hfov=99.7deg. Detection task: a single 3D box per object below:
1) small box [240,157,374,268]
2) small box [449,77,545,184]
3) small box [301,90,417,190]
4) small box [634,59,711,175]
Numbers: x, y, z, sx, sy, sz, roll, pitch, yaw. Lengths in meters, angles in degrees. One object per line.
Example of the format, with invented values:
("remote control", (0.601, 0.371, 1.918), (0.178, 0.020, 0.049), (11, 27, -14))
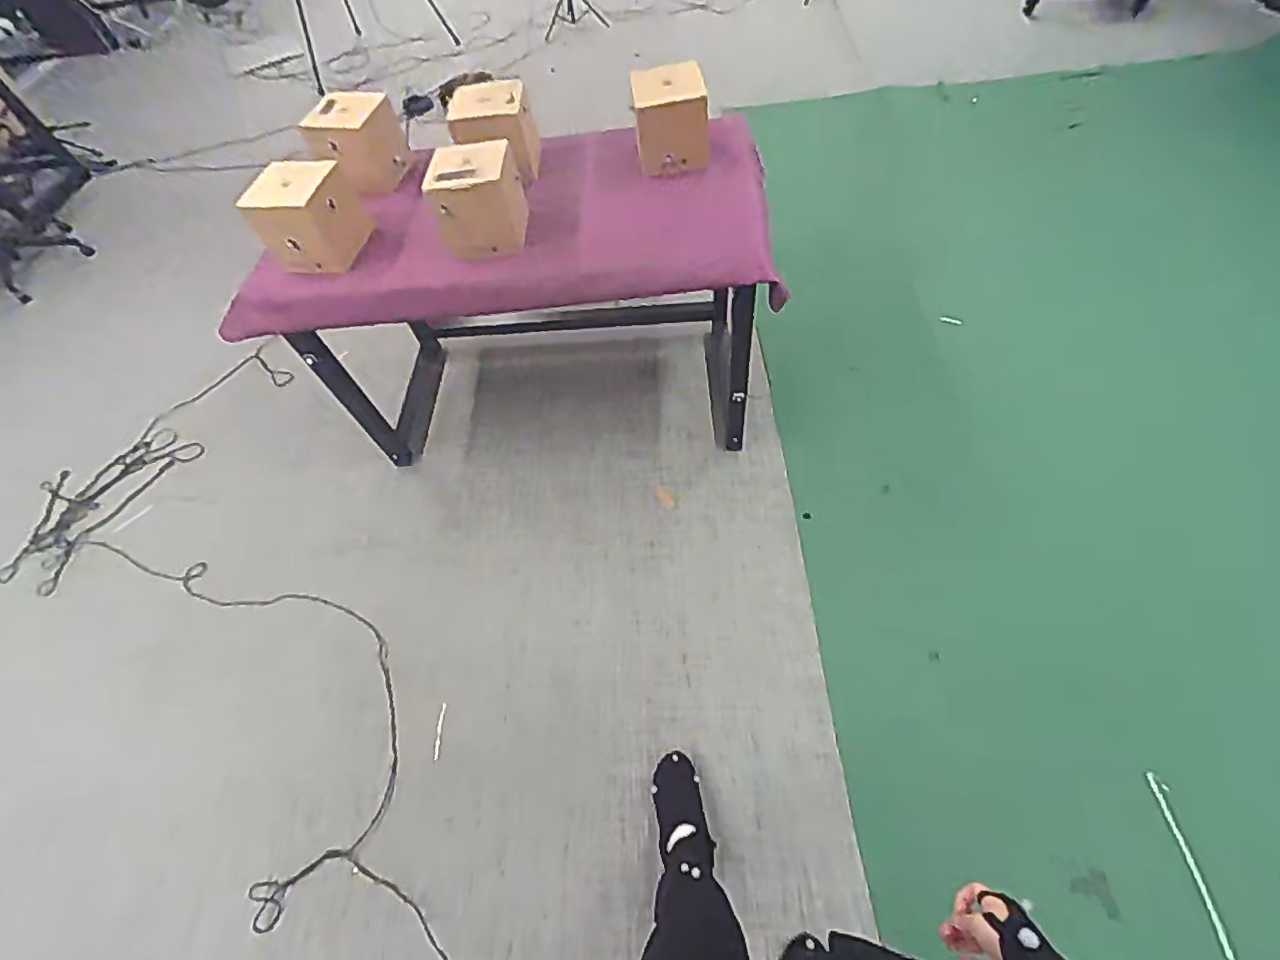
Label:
("small box", (-0.748, -0.607, 1.239), (0.168, 0.176, 0.179), (4, 59, 8))
("small box", (-0.351, -0.871, 1.359), (0.179, 0.176, 0.168), (-4, 60, 5))
("small box", (-0.719, -0.880, 1.404), (0.179, 0.176, 0.168), (8, 61, 10))
("small box", (0.080, -0.878, 1.313), (0.168, 0.176, 0.179), (-8, 59, 4))
